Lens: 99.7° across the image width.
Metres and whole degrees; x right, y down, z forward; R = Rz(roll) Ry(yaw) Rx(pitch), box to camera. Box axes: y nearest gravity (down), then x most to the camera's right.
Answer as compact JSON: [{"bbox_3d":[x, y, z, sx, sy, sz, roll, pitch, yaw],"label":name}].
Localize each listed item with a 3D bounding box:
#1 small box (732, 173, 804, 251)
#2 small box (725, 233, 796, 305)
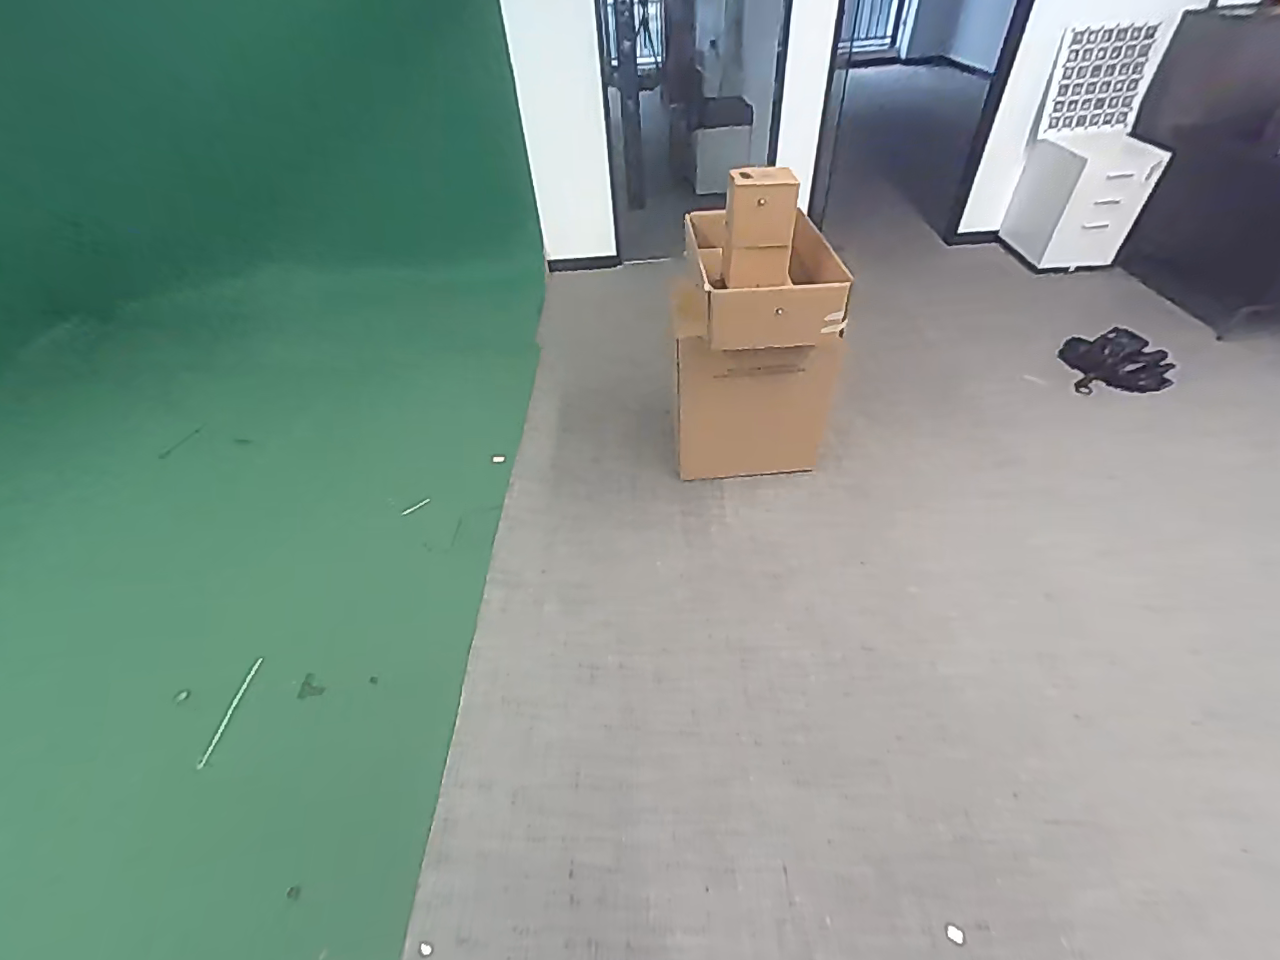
[{"bbox_3d":[0.363,-0.776,1.571,0.179,0.176,0.168,0,43,2],"label":"small box"},{"bbox_3d":[0.369,-0.658,1.686,0.179,0.176,0.168,-2,42,0],"label":"small box"}]
